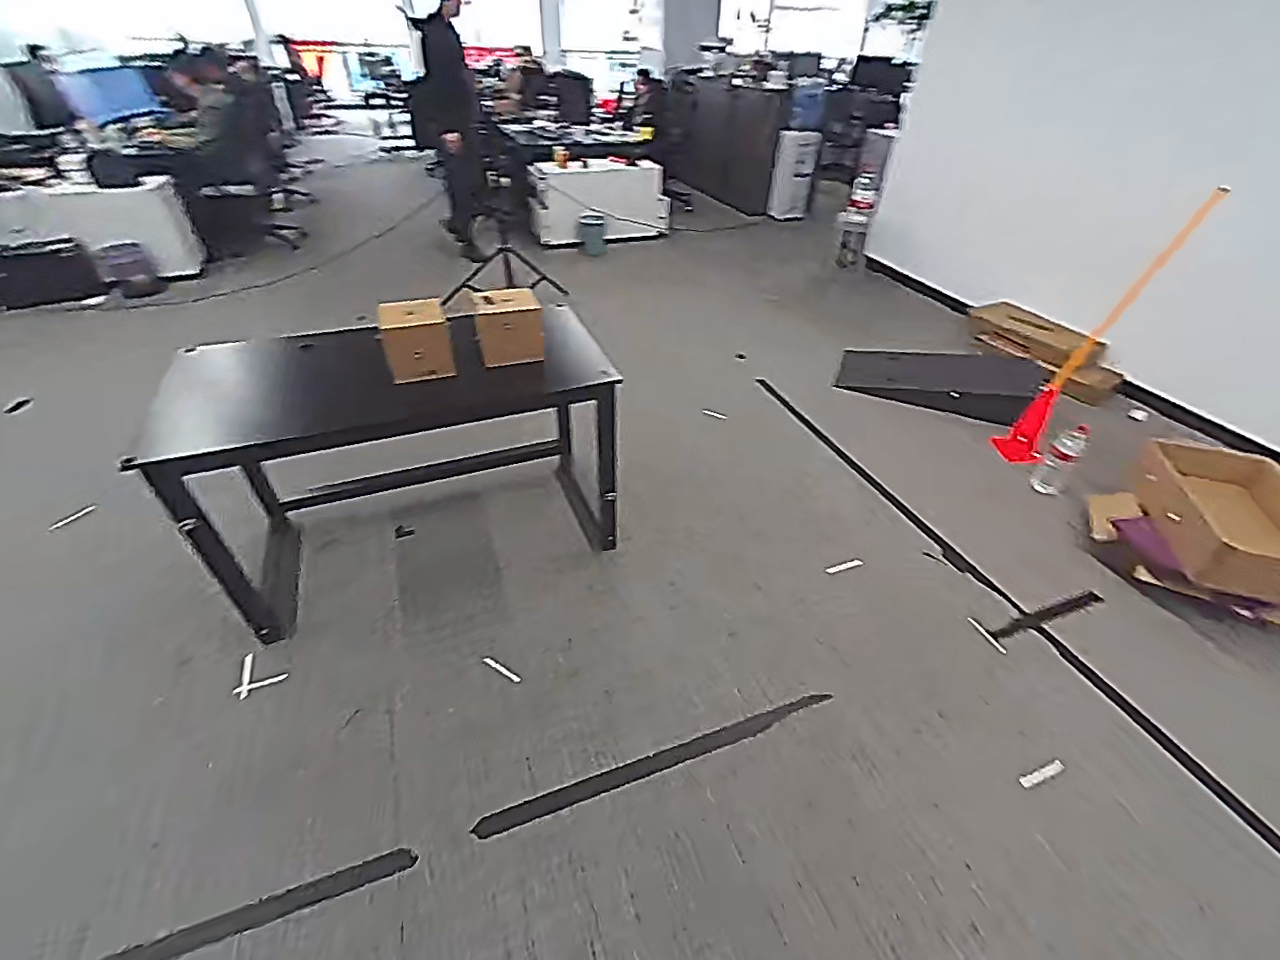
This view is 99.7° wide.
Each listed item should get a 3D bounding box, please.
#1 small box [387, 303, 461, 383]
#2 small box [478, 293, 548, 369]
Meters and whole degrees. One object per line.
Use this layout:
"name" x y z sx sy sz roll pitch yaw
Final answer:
"small box" -0.625 -0.392 1.569 0.168 0.176 0.179 -12 42 -17
"small box" -0.386 -0.453 1.653 0.179 0.176 0.168 -11 41 -16
